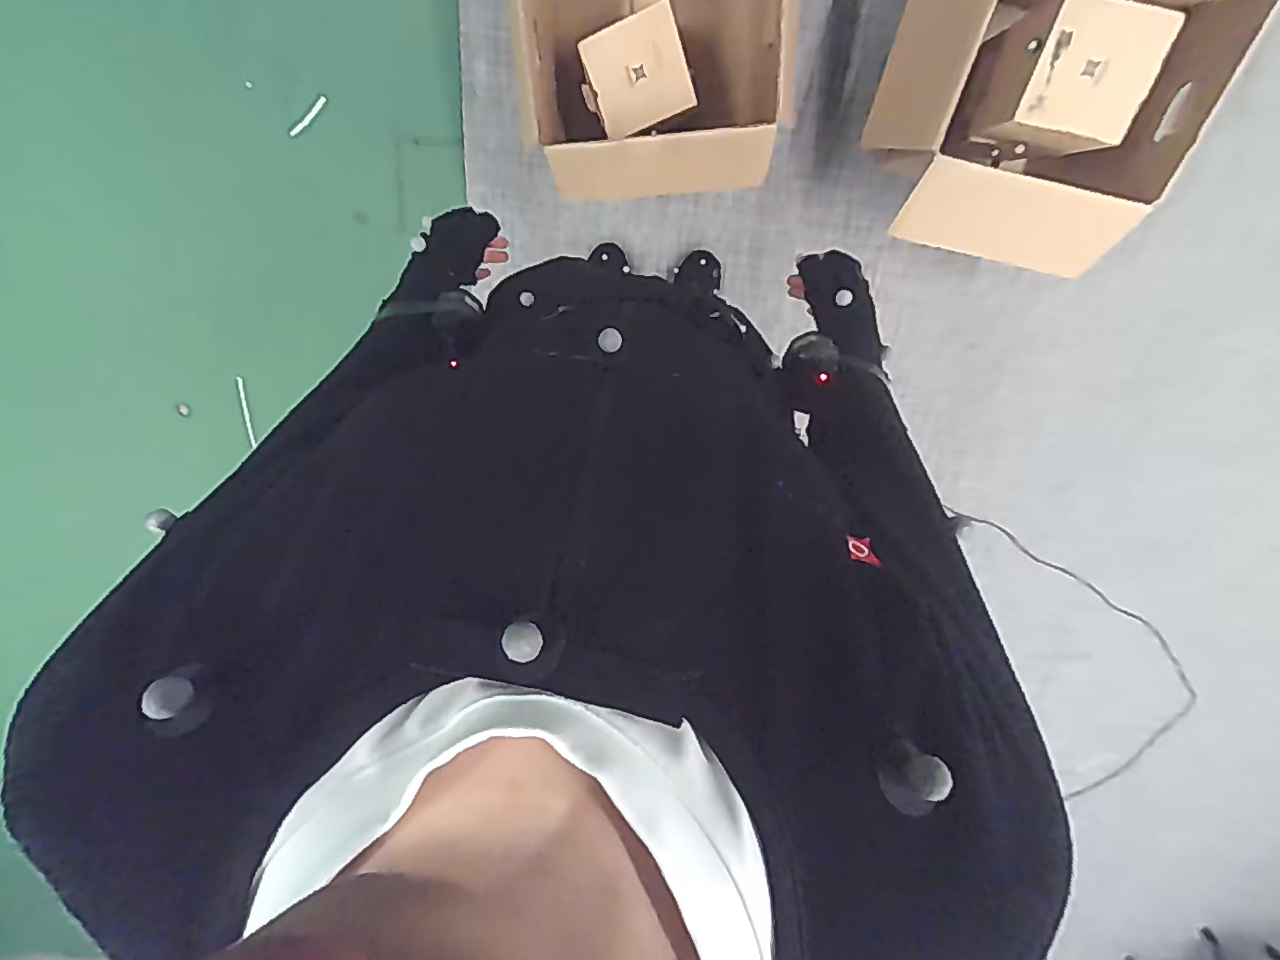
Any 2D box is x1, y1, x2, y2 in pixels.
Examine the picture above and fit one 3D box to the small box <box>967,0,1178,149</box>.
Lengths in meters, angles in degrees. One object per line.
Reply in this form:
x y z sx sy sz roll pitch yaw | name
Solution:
0.689 -0.658 0.888 0.179 0.176 0.168 12 116 -1 | small box
